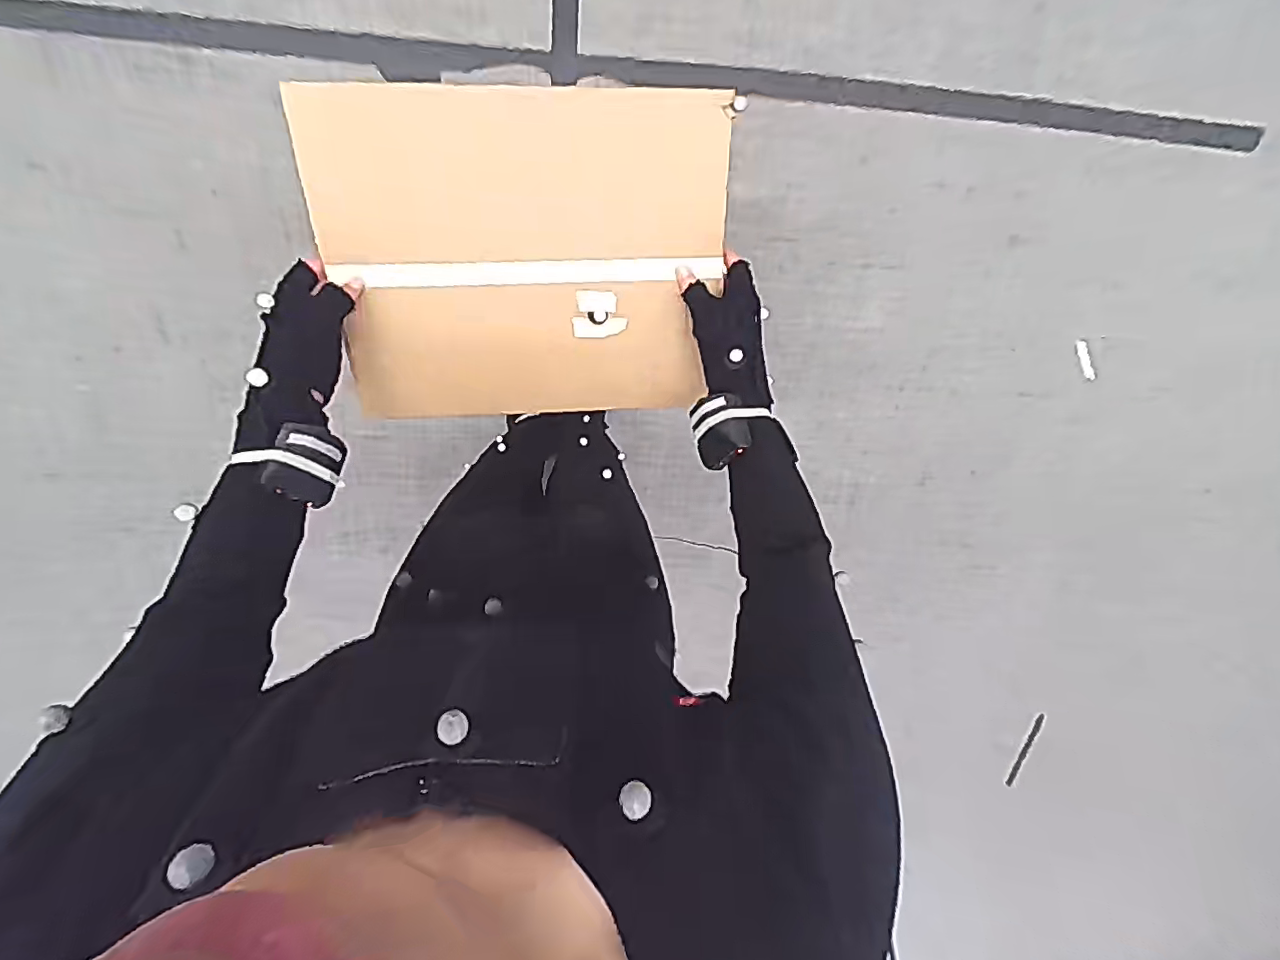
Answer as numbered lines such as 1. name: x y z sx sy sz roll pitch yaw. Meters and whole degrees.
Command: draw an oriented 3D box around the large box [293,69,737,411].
1. large box: -0.123 -0.296 0.684 0.408 0.320 0.320 -4 119 -7
